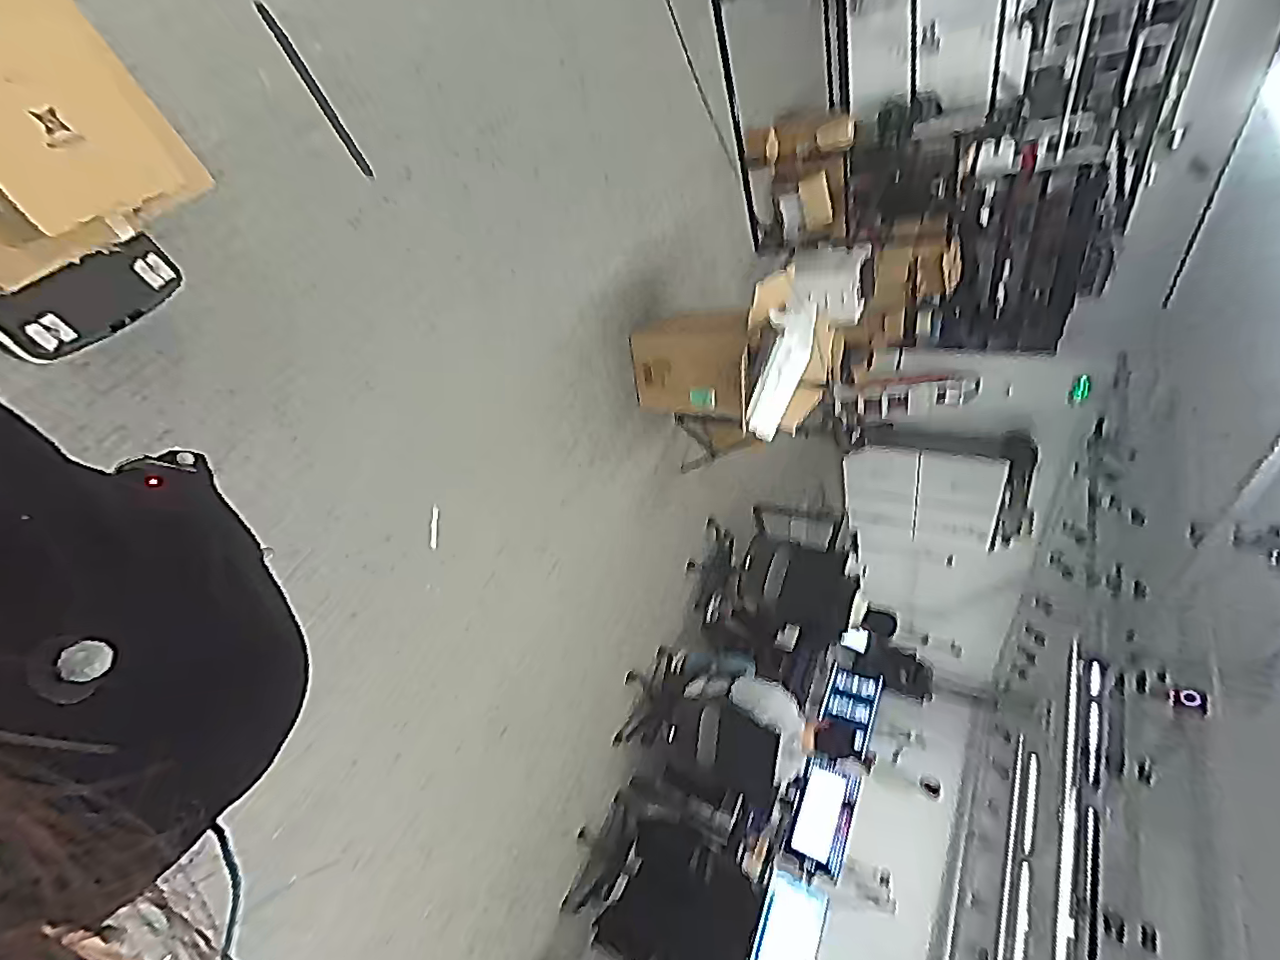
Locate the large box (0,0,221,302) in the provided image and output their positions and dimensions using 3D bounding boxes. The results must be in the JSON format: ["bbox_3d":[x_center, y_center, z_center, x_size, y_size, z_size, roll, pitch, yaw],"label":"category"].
[{"bbox_3d":[-0.897,-0.493,0.705,0.320,0.320,0.408,-59,141,-32],"label":"large box"}]

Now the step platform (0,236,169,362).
[{"bbox_3d":[-1.109,-0.527,0.810,0.286,0.204,0.684,-54,139,-36],"label":"step platform"}]

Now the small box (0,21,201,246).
[{"bbox_3d":[-0.675,-0.385,0.622,0.168,0.176,0.179,-53,139,-35],"label":"small box"}]
